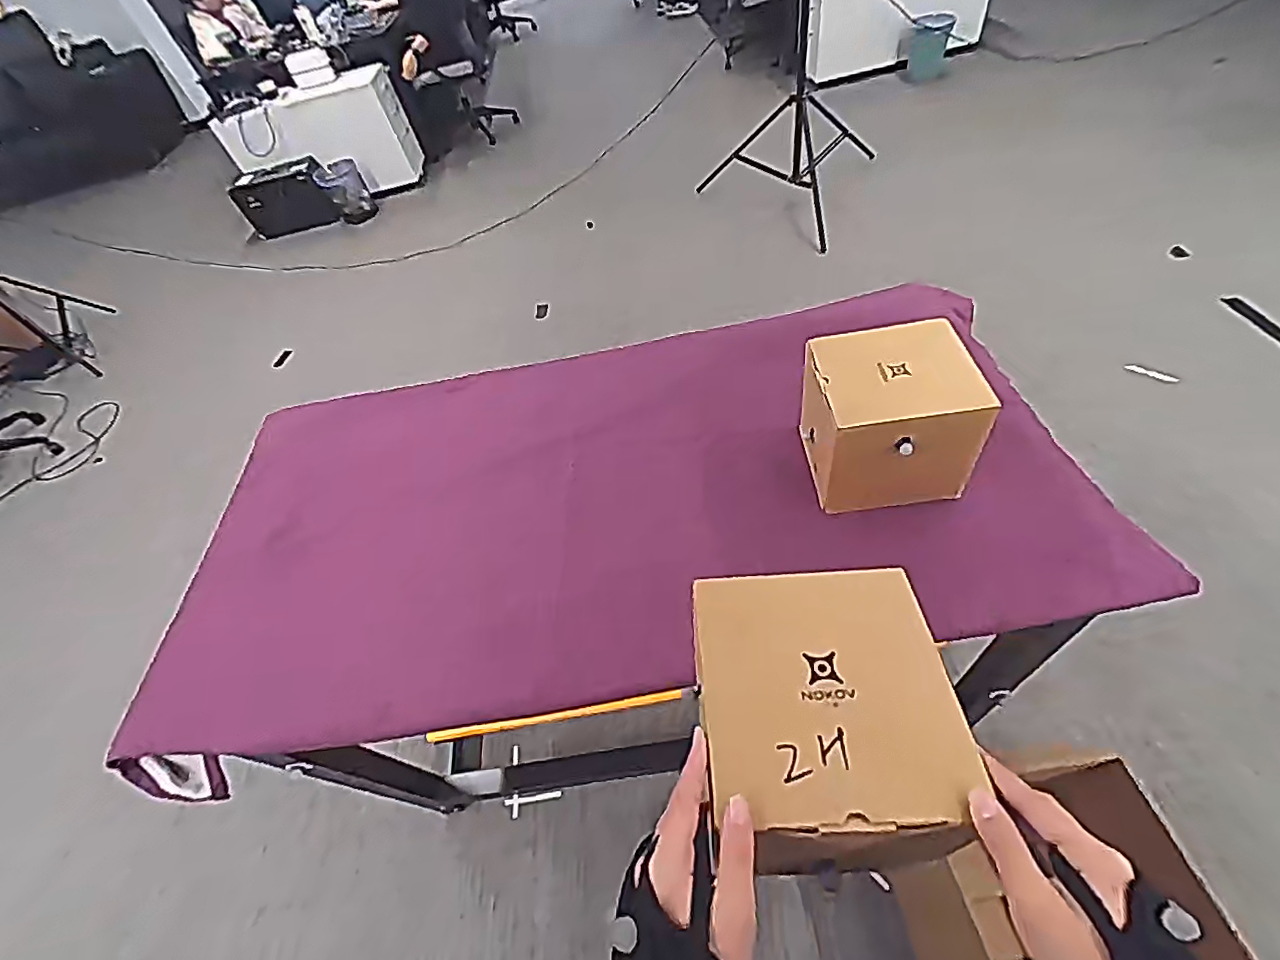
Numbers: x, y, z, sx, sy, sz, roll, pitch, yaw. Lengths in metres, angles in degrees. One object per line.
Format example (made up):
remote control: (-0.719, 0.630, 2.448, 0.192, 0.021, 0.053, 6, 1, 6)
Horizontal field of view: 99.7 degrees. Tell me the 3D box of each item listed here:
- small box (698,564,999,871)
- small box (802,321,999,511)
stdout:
small box: (0.132, 0.188, 0.429, 0.168, 0.176, 0.179, -4, 46, 4)
small box: (0.319, -0.078, 0.706, 0.179, 0.176, 0.168, -8, 50, 8)
